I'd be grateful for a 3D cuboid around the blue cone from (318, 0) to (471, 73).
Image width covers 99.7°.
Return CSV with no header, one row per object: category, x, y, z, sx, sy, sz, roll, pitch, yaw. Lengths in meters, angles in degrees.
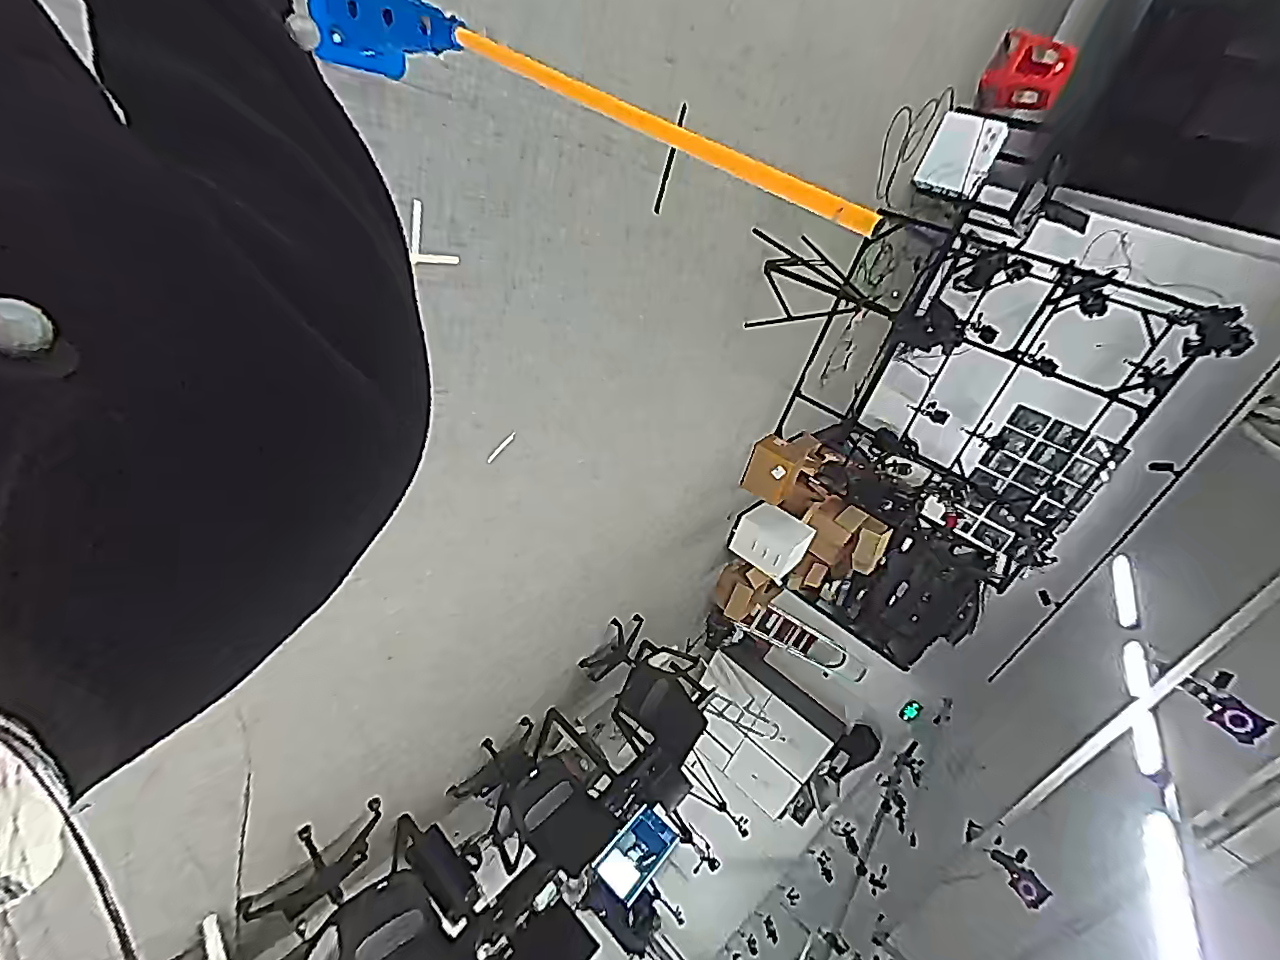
blue cone,-0.453,-0.892,1.046,0.193,0.380,0.192,-24,139,-47
